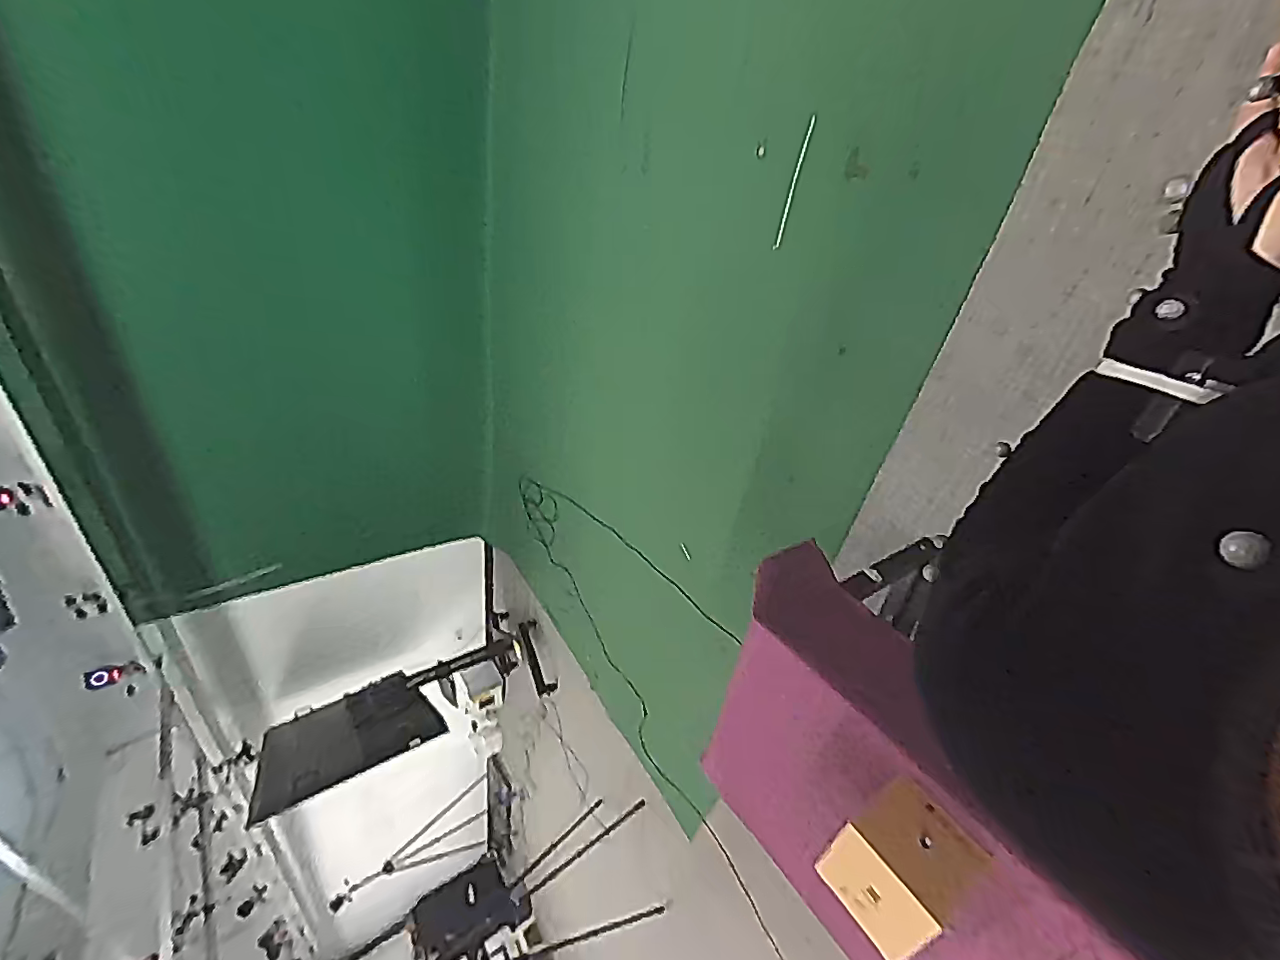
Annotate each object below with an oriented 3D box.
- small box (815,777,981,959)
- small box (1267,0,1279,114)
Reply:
[{"bbox_3d":[0.436,0.647,0.914,0.168,0.176,0.179,43,135,39],"label":"small box"},{"bbox_3d":[0.423,-0.286,0.247,0.168,0.176,0.179,4,126,46],"label":"small box"}]
